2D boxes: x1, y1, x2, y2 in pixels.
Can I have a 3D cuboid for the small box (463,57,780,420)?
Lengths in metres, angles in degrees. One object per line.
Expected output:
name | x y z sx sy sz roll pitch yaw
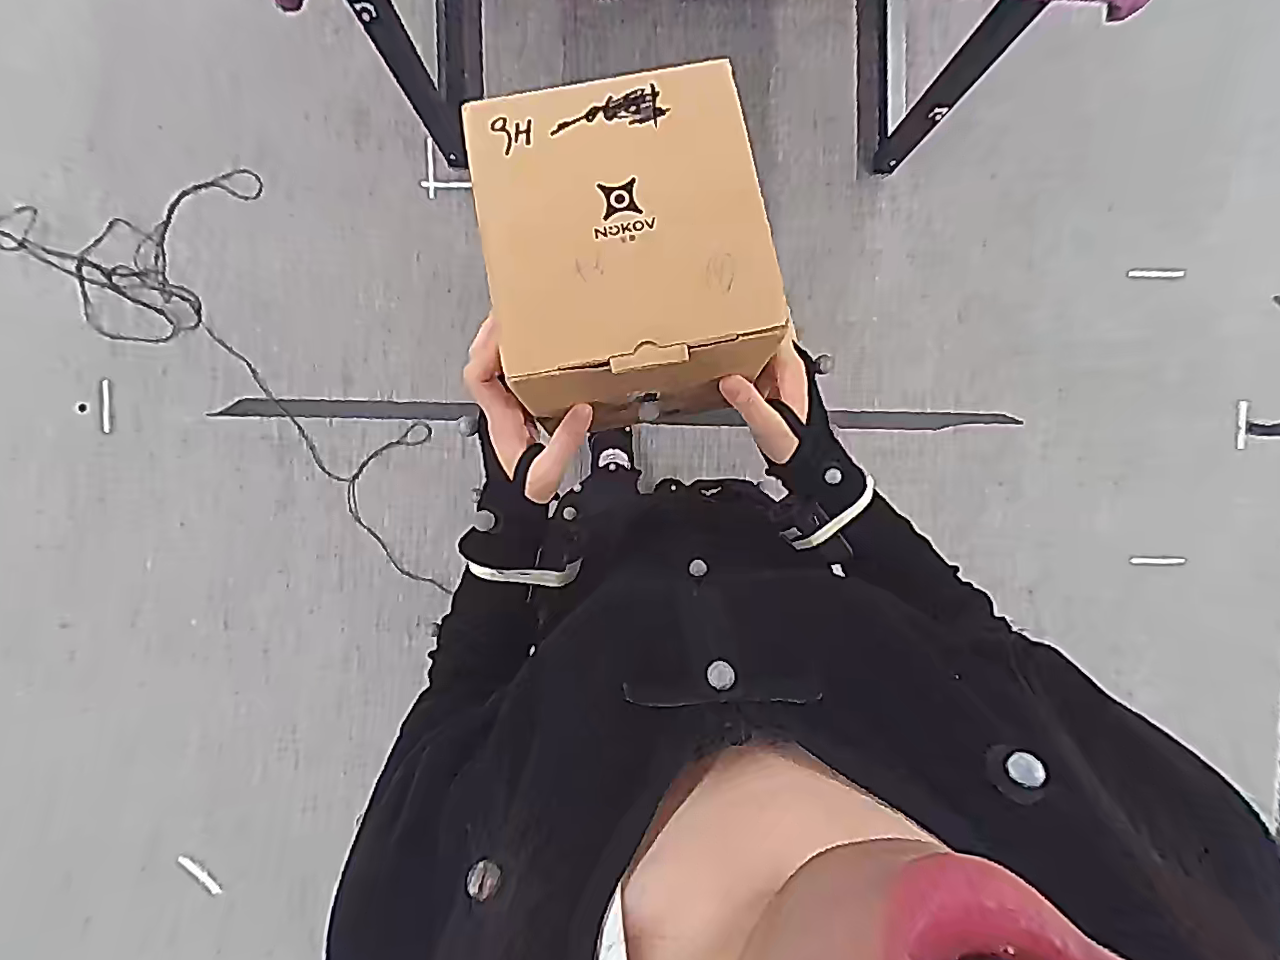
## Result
small box | -0.012 -0.149 0.396 0.168 0.176 0.179 -10 84 -1
